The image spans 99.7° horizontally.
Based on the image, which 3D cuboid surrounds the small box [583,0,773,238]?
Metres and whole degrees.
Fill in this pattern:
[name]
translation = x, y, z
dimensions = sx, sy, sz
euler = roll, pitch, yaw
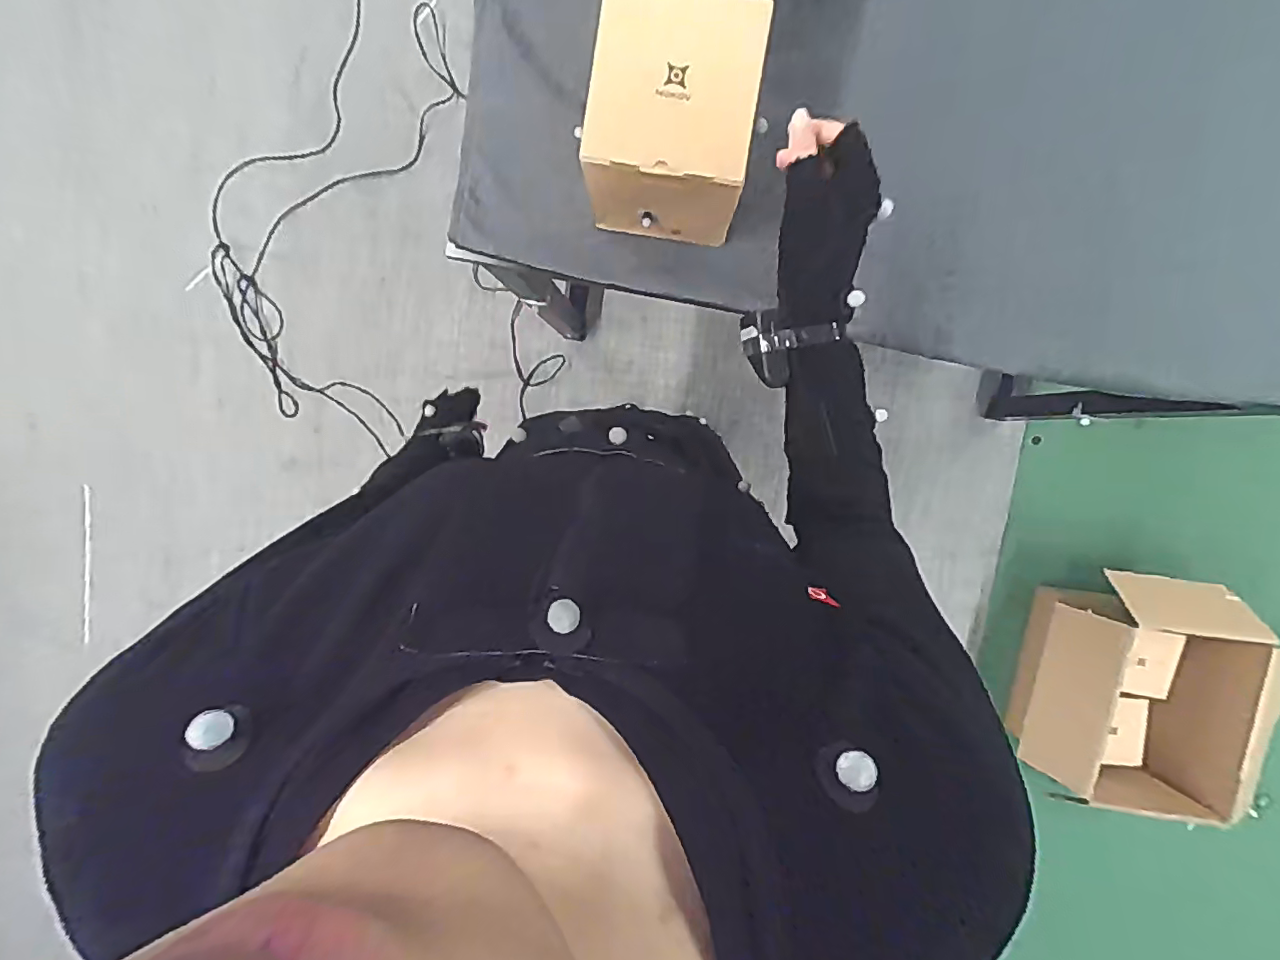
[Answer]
[small box]
translation = 0.036, -0.401, 0.607
dimensions = 0.168, 0.176, 0.179
euler = 9, 95, 0
